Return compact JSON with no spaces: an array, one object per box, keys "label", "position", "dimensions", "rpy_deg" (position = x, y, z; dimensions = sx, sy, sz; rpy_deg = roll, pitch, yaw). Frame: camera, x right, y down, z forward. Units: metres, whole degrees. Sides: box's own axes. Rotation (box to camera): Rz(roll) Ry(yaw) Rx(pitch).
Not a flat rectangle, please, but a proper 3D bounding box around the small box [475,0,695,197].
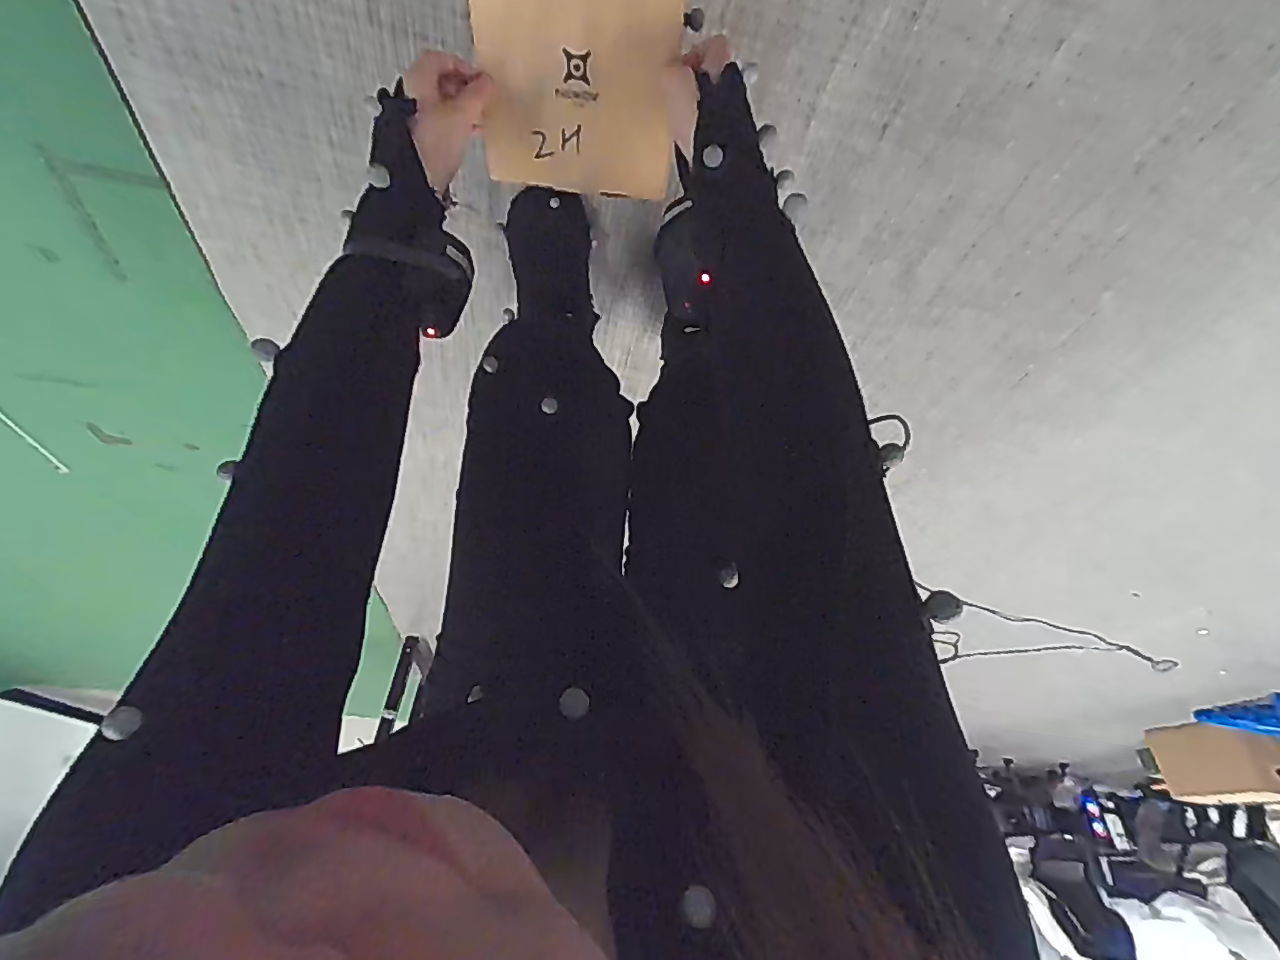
[{"label":"small box","position":[-0.040,-0.386,0.488],"dimensions":[0.168,0.176,0.179],"rpy_deg":[8,136,1]}]
